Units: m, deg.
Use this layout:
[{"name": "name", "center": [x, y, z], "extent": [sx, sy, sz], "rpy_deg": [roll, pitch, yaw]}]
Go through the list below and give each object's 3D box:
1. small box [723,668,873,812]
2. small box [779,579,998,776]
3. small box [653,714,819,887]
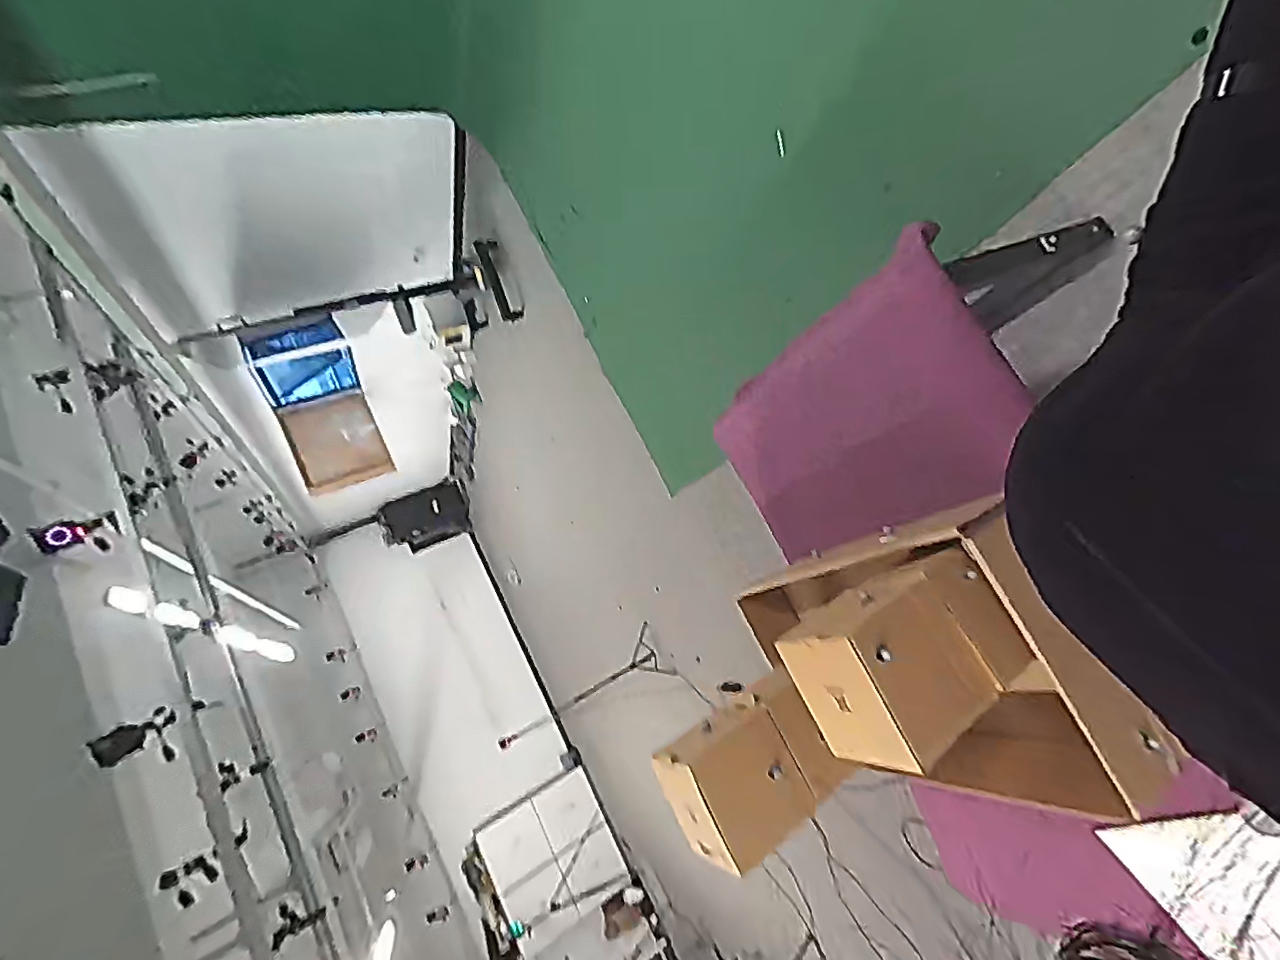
[{"name": "small box", "center": [0.288, 0.449, 0.967], "extent": [0.179, 0.176, 0.168], "rpy_deg": [61, 152, 12]}, {"name": "small box", "center": [0.332, 0.258, 0.732], "extent": [0.179, 0.176, 0.168], "rpy_deg": [62, 154, 9]}, {"name": "small box", "center": [0.154, 0.508, 0.893], "extent": [0.179, 0.176, 0.168], "rpy_deg": [63, 152, 10]}]
